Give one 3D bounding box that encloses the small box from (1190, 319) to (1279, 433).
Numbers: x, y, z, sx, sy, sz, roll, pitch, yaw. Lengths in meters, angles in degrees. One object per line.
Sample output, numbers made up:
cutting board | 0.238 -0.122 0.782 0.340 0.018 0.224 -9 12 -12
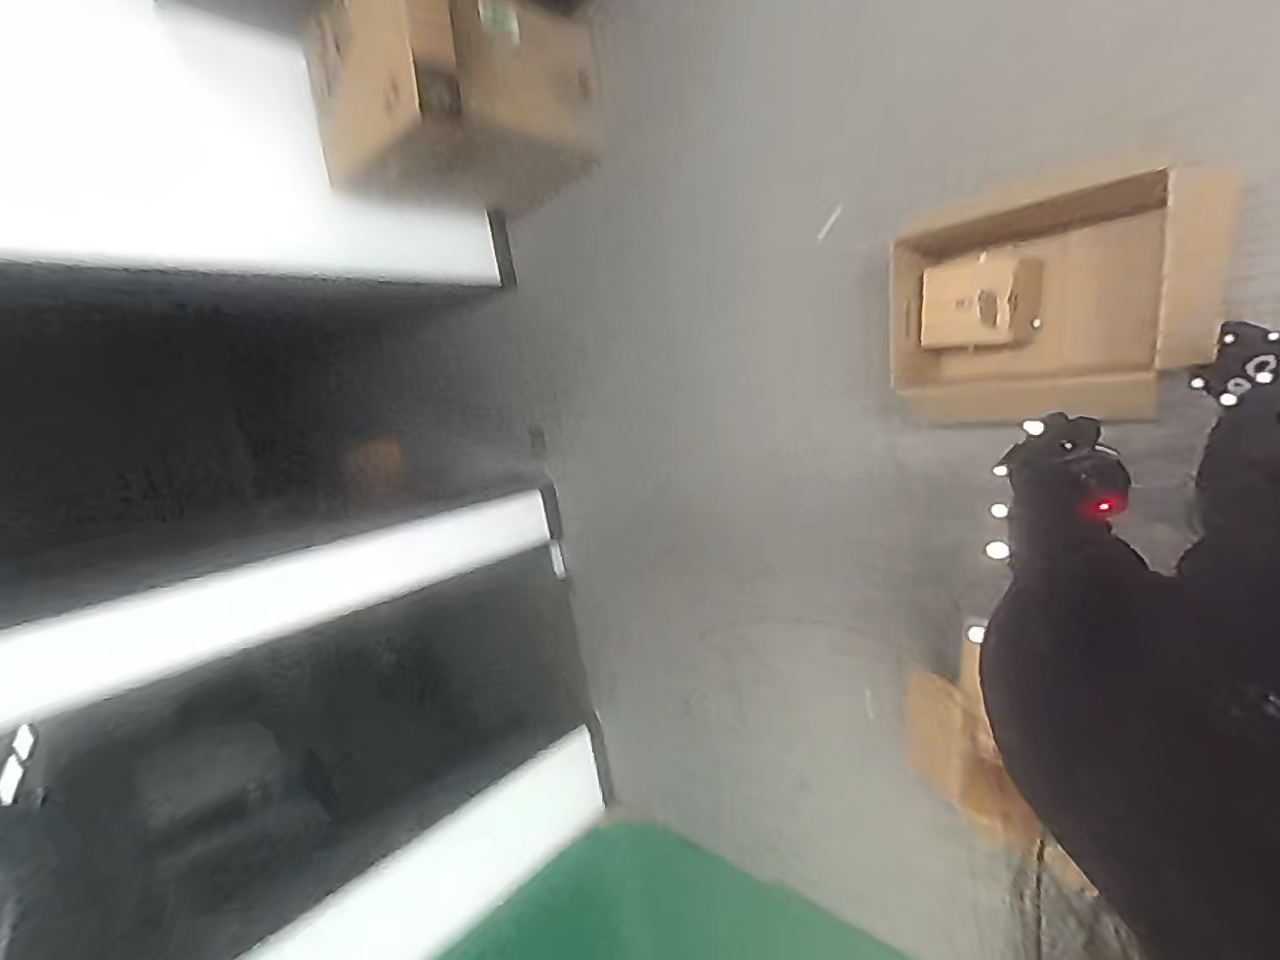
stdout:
small box | 1.106 -0.184 0.938 0.179 0.176 0.168 25 131 61
